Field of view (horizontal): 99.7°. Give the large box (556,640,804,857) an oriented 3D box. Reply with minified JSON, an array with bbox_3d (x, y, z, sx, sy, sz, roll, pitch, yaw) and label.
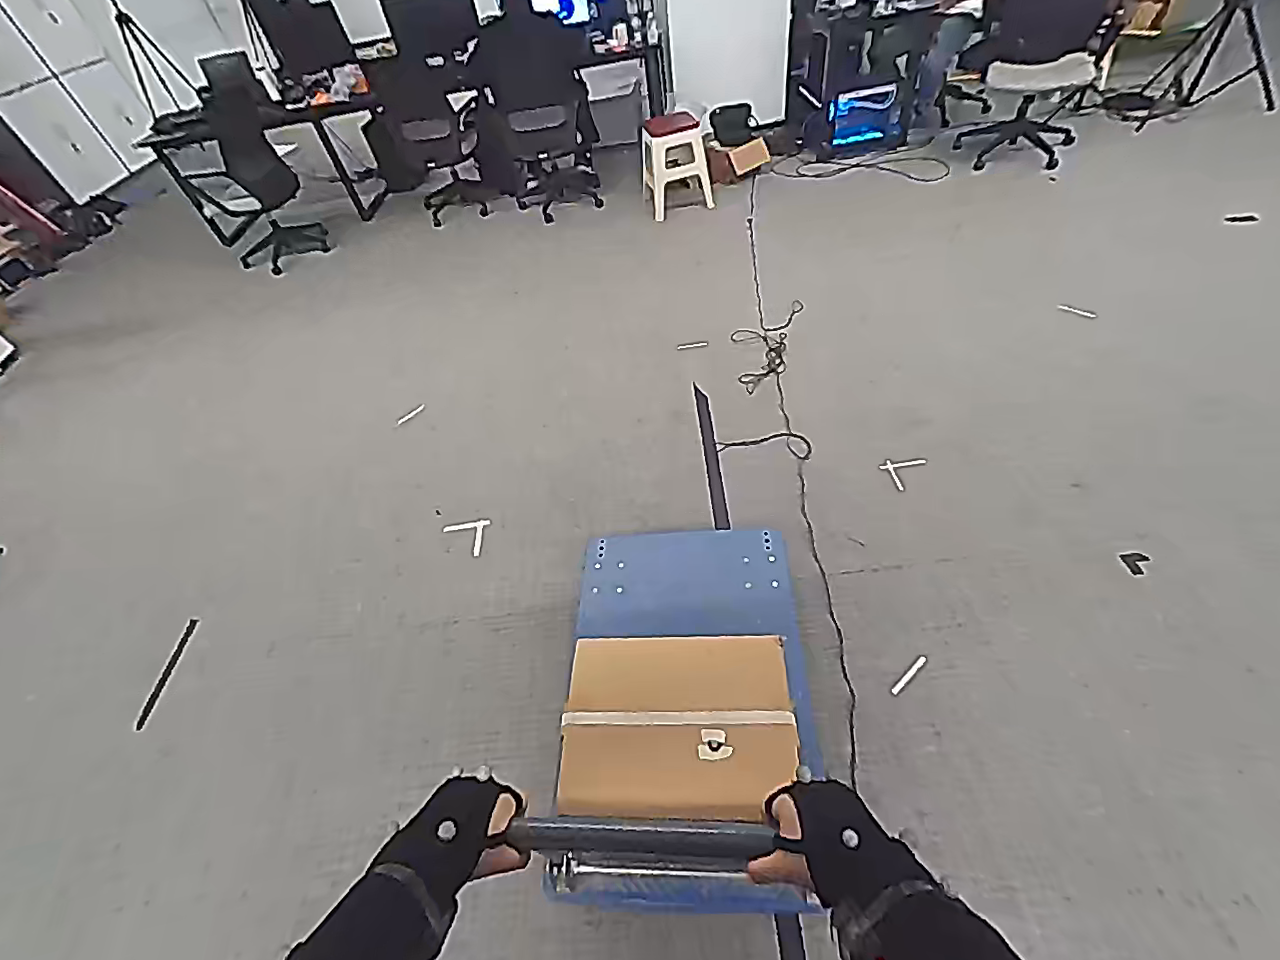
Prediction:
[{"bbox_3d":[0.081,0.530,1.060,0.408,0.320,0.320,-3,48,7],"label":"large box"}]
